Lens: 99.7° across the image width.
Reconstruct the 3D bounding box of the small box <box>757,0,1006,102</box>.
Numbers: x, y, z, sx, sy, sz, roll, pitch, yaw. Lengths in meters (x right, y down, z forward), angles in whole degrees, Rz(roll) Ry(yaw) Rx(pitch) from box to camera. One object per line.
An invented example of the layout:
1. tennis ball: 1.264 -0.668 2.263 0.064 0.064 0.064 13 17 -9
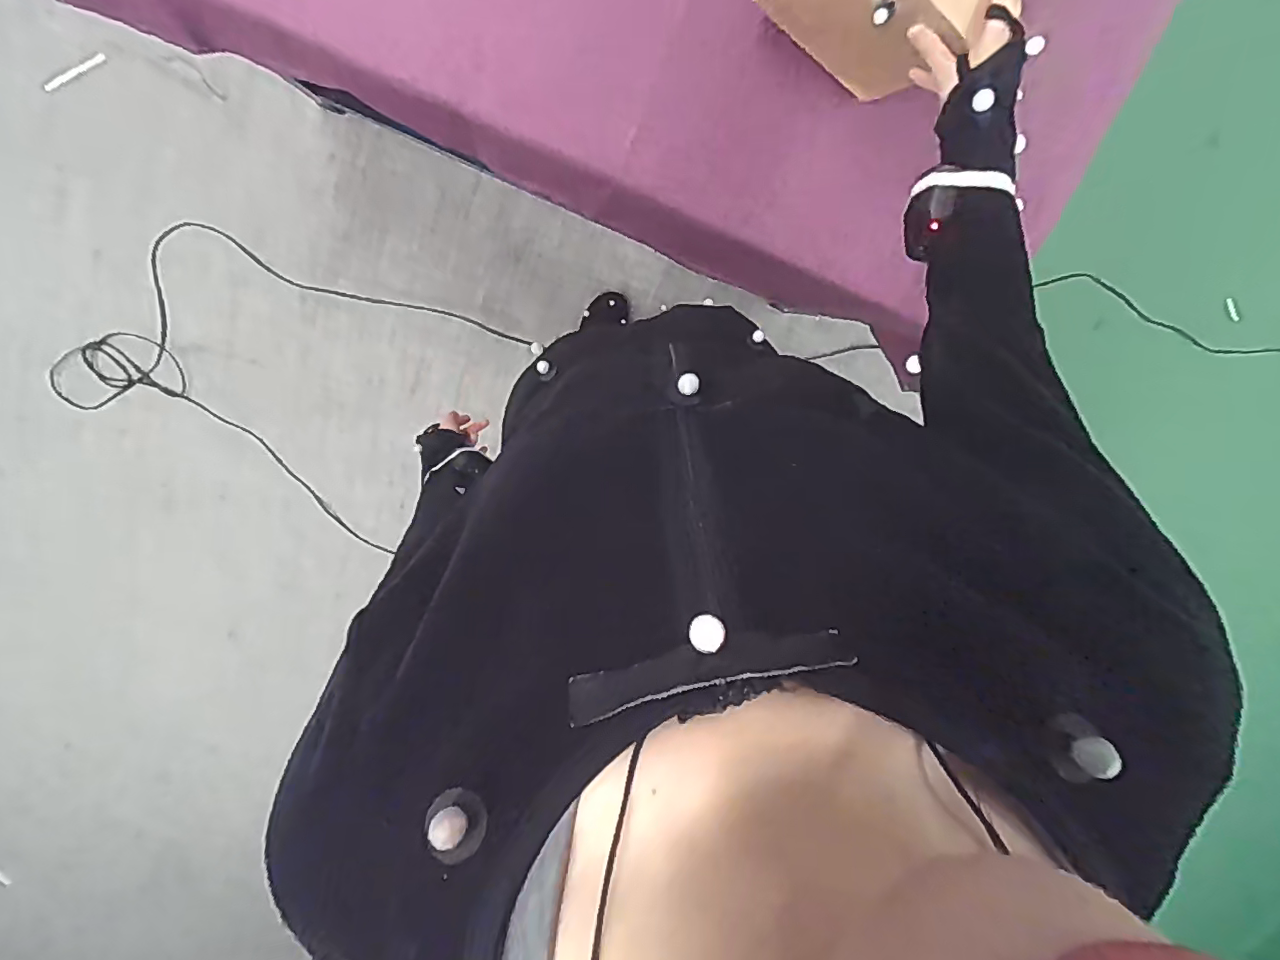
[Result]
1. small box: 0.244 -0.509 0.520 0.179 0.176 0.168 22 103 -22
